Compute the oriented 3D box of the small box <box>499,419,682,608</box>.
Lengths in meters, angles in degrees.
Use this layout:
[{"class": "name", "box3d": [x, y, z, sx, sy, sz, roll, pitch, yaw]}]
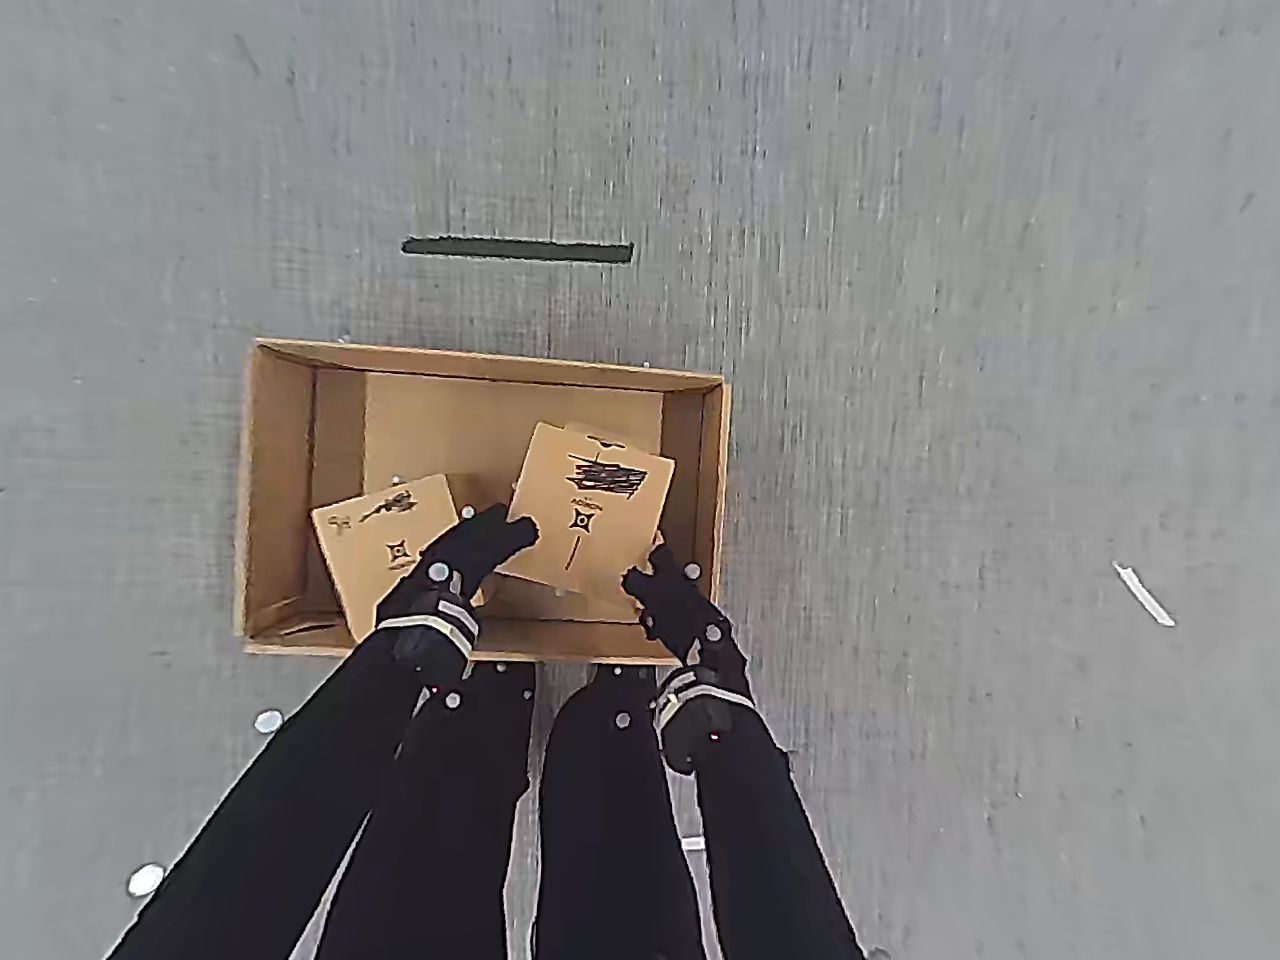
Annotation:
[{"class": "small box", "box3d": [-0.059, 0.046, 0.670, 0.168, 0.176, 0.179, 16, 81, -2]}]
